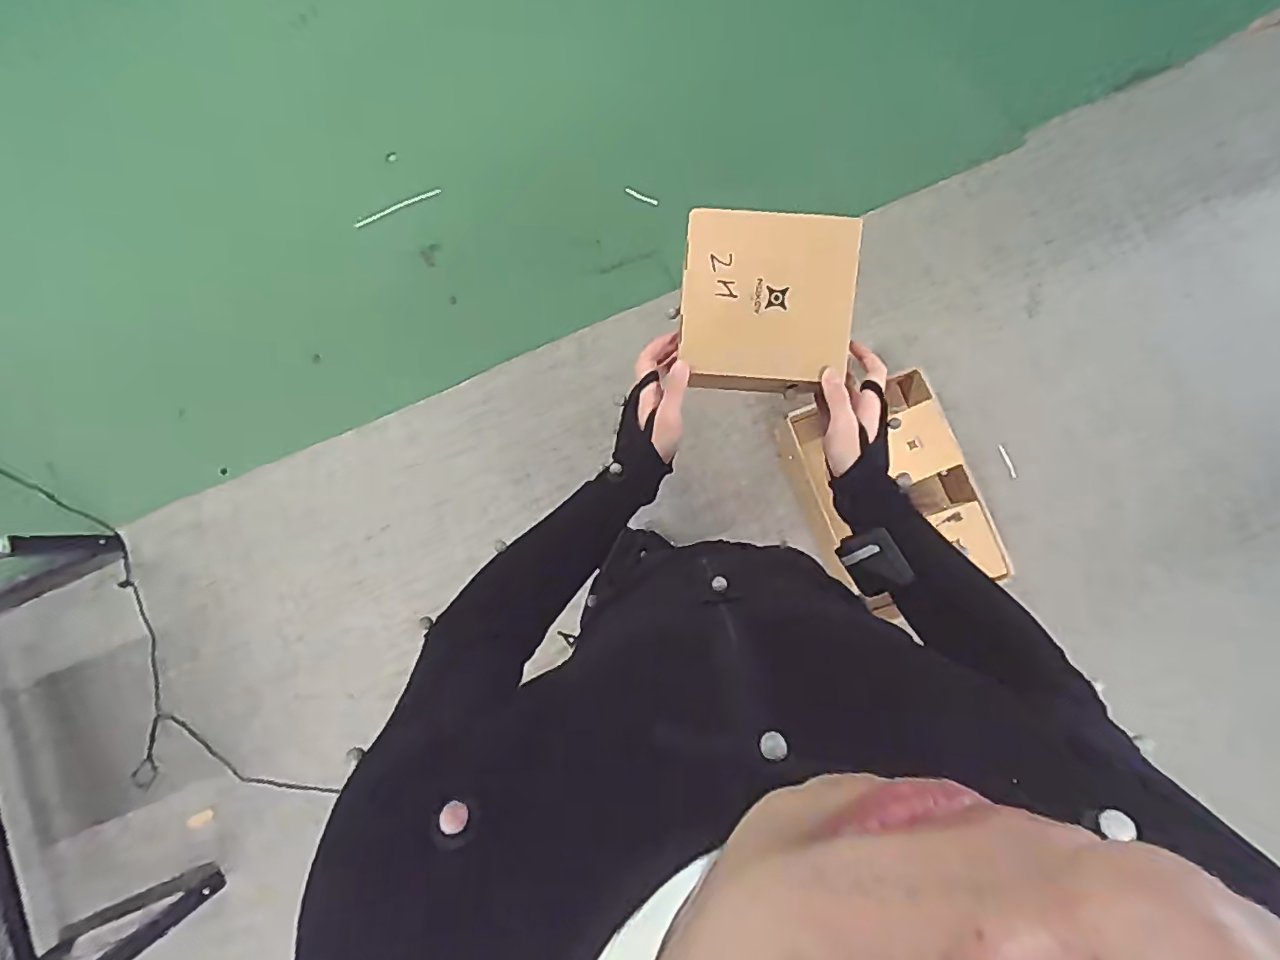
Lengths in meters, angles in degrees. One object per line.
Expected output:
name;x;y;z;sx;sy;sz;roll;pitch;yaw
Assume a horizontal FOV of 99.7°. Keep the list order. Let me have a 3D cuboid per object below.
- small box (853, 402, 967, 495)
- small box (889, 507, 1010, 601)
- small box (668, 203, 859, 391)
small box;0.645;-0.069;1.325;0.179;0.176;0.168;-23;85;2
small box;0.726;0.172;1.289;0.168;0.176;0.179;-18;83;3
small box;0.127;-0.195;0.623;0.179;0.176;0.168;5;95;2
